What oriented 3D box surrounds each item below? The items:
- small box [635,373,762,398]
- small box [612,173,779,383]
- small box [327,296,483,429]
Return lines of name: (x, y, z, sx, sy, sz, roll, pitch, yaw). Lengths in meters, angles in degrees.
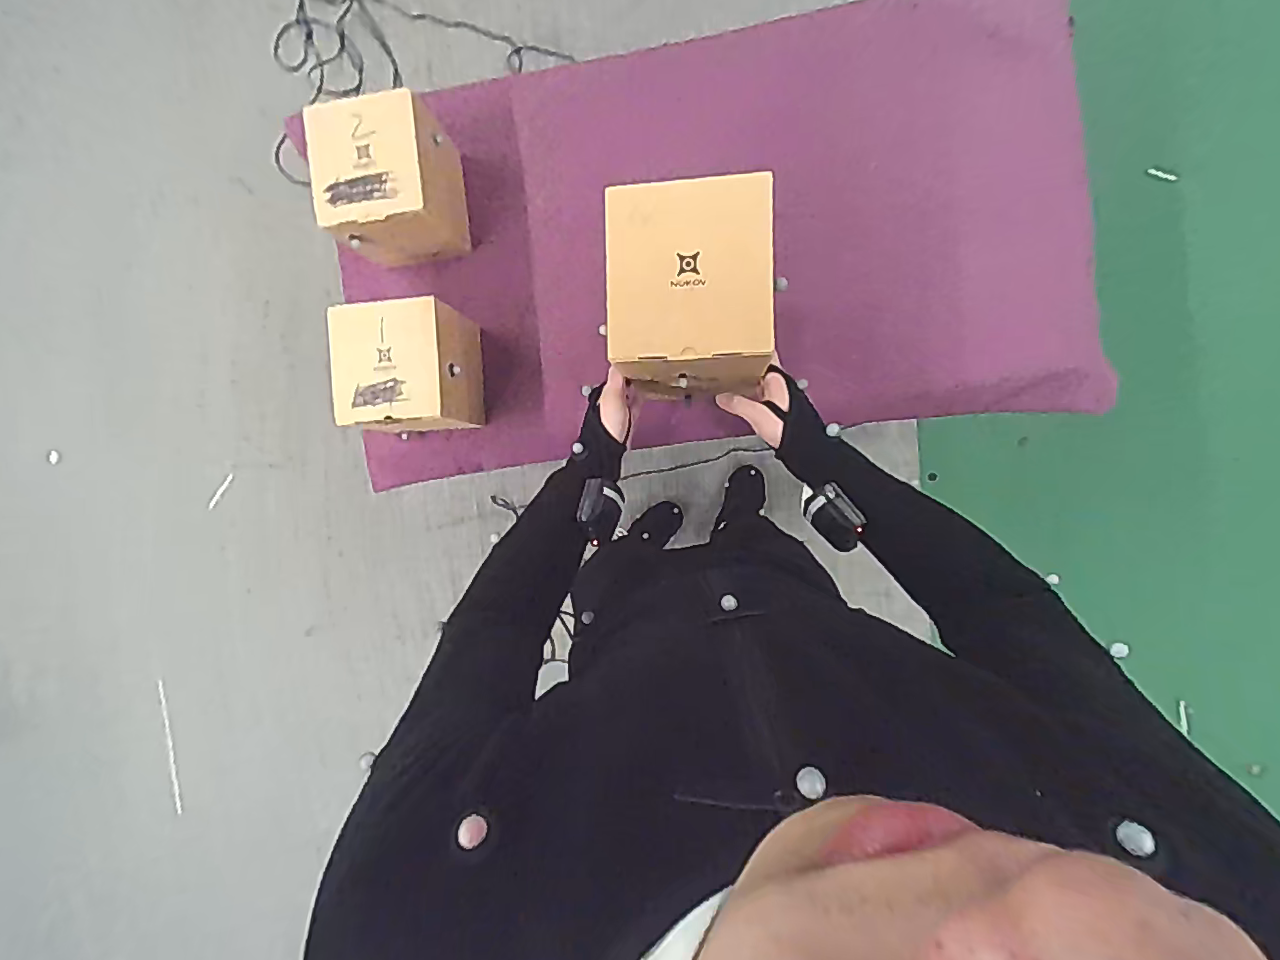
small box: (0.085, -0.214, 0.768, 0.168, 0.176, 0.179, 0, 93, 8)
small box: (0.063, -0.210, 0.608, 0.168, 0.176, 0.179, -1, 93, 8)
small box: (-0.359, -0.174, 0.855, 0.168, 0.176, 0.179, -4, 91, 5)
